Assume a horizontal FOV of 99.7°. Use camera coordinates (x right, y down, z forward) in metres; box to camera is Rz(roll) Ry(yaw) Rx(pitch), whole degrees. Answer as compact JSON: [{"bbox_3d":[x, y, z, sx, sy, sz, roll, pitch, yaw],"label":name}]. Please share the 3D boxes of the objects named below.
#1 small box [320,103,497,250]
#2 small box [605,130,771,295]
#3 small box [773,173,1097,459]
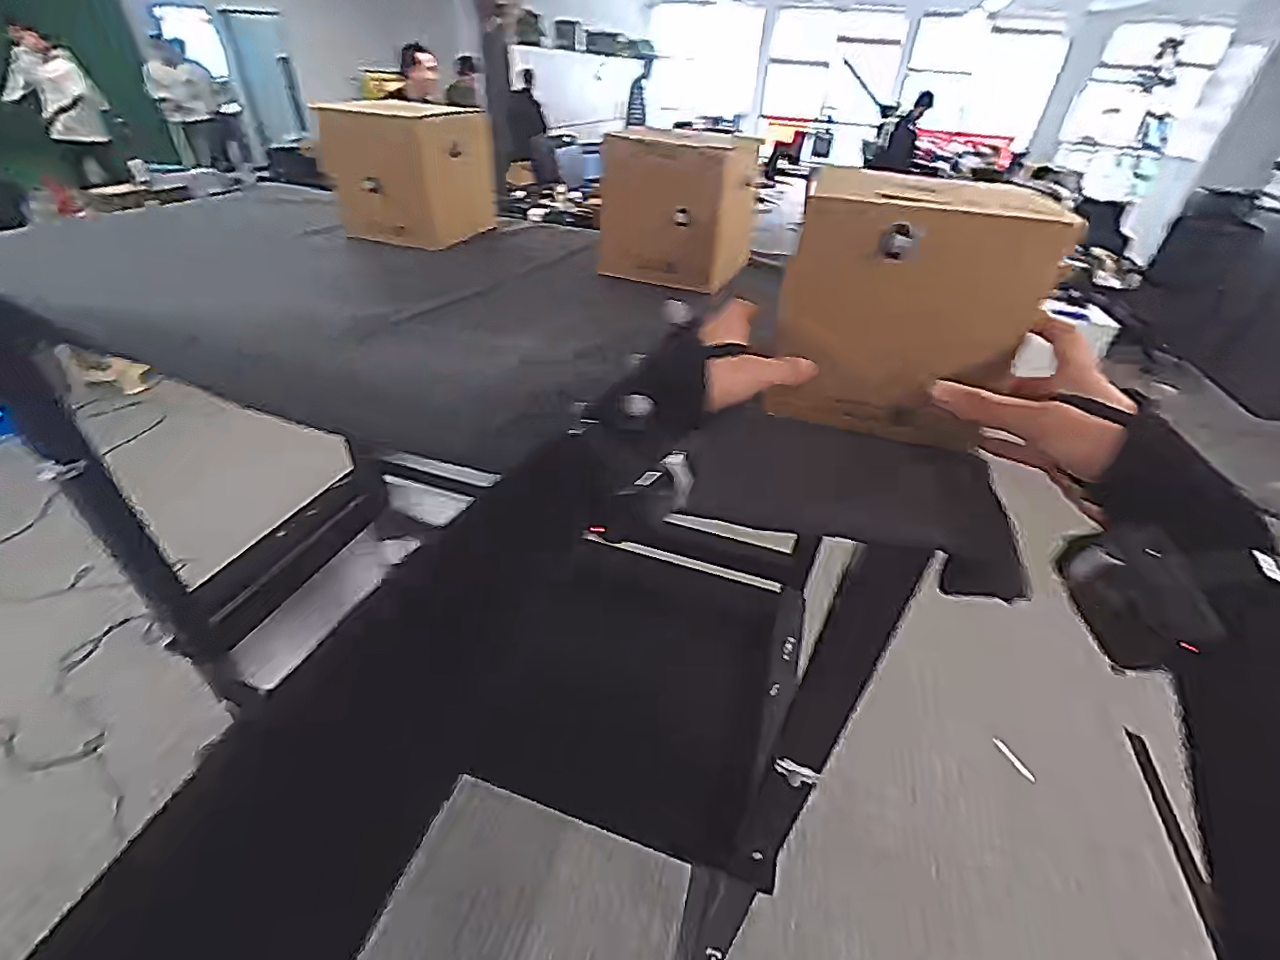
[{"bbox_3d":[-0.330,-0.460,0.817,0.168,0.176,0.179,14,38,12],"label":"small box"},{"bbox_3d":[0.063,-0.365,0.734,0.168,0.176,0.179,18,39,17],"label":"small box"},{"bbox_3d":[0.214,-0.143,0.447,0.168,0.176,0.179,13,37,13],"label":"small box"}]
